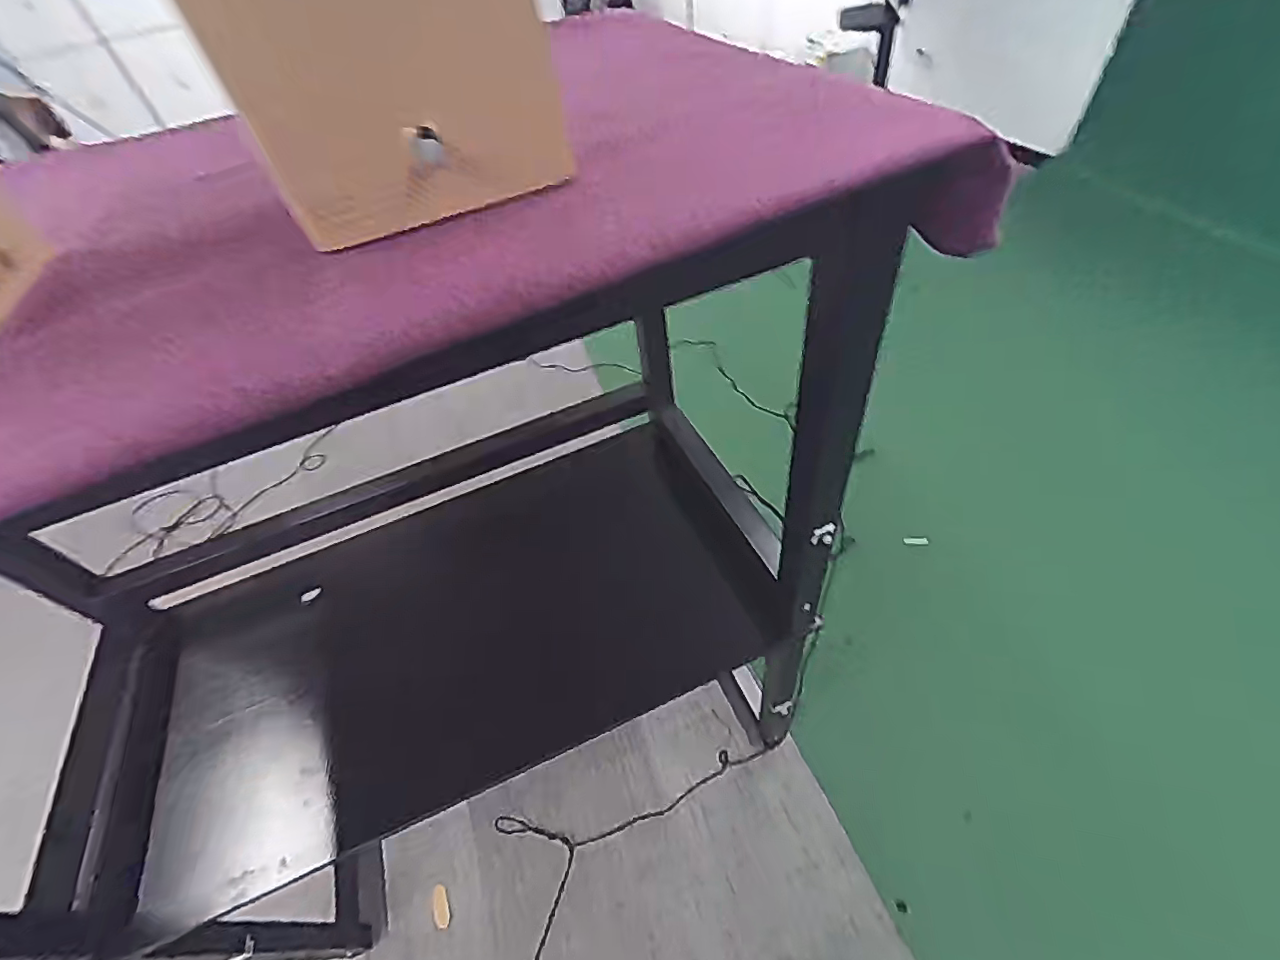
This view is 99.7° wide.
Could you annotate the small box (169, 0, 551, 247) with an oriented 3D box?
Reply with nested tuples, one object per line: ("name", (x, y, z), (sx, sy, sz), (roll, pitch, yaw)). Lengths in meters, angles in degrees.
("small box", (-0.168, -0.282, 0.353), (0.179, 0.176, 0.168), (-22, 47, -9))
